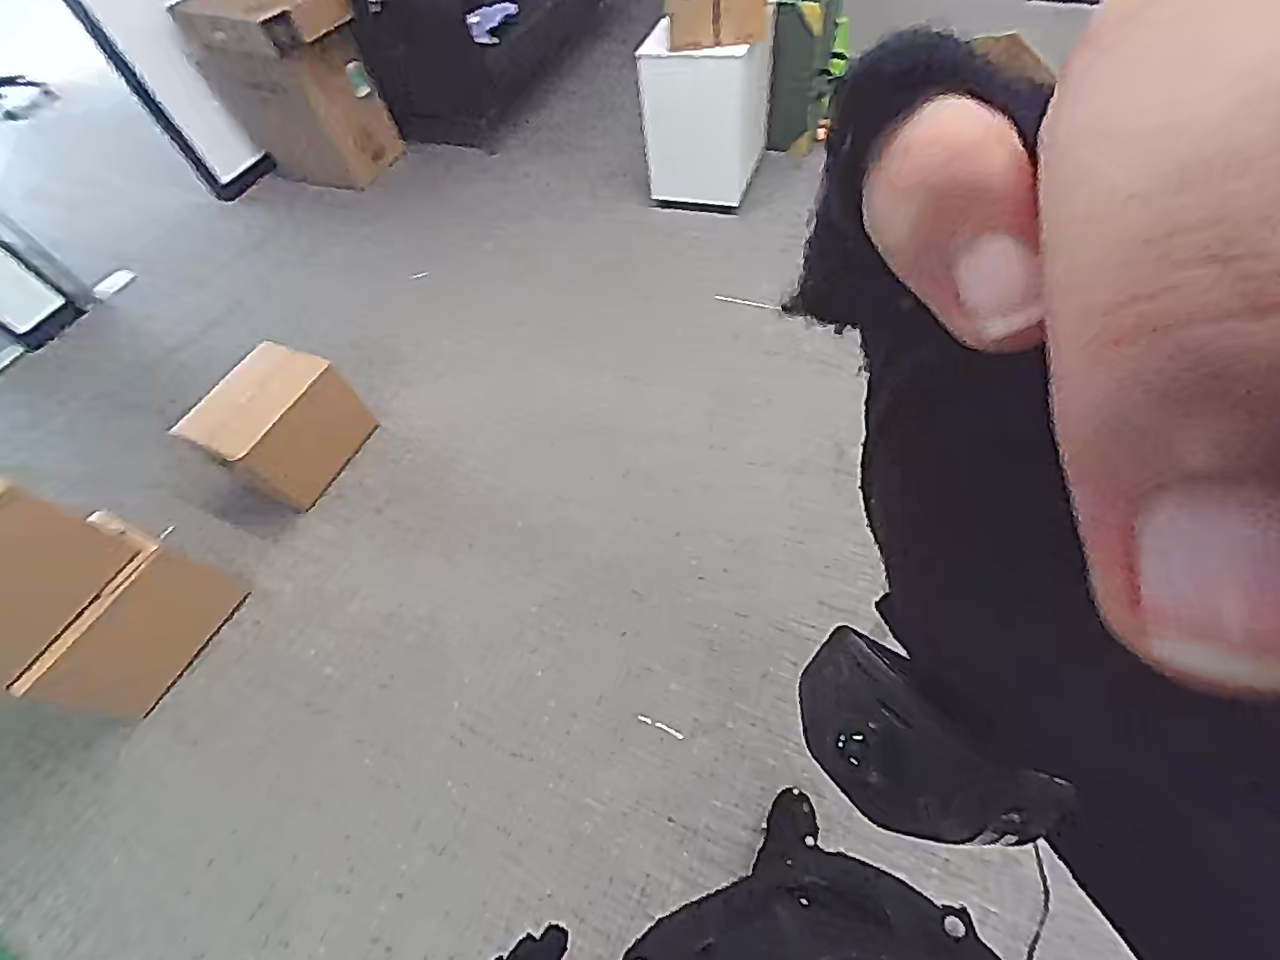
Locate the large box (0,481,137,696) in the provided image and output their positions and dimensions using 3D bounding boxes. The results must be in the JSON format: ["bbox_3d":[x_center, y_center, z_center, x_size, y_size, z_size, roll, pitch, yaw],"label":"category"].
[{"bbox_3d":[-1.515,0.223,1.221,0.320,0.320,0.408,16,60,20],"label":"large box"}]
